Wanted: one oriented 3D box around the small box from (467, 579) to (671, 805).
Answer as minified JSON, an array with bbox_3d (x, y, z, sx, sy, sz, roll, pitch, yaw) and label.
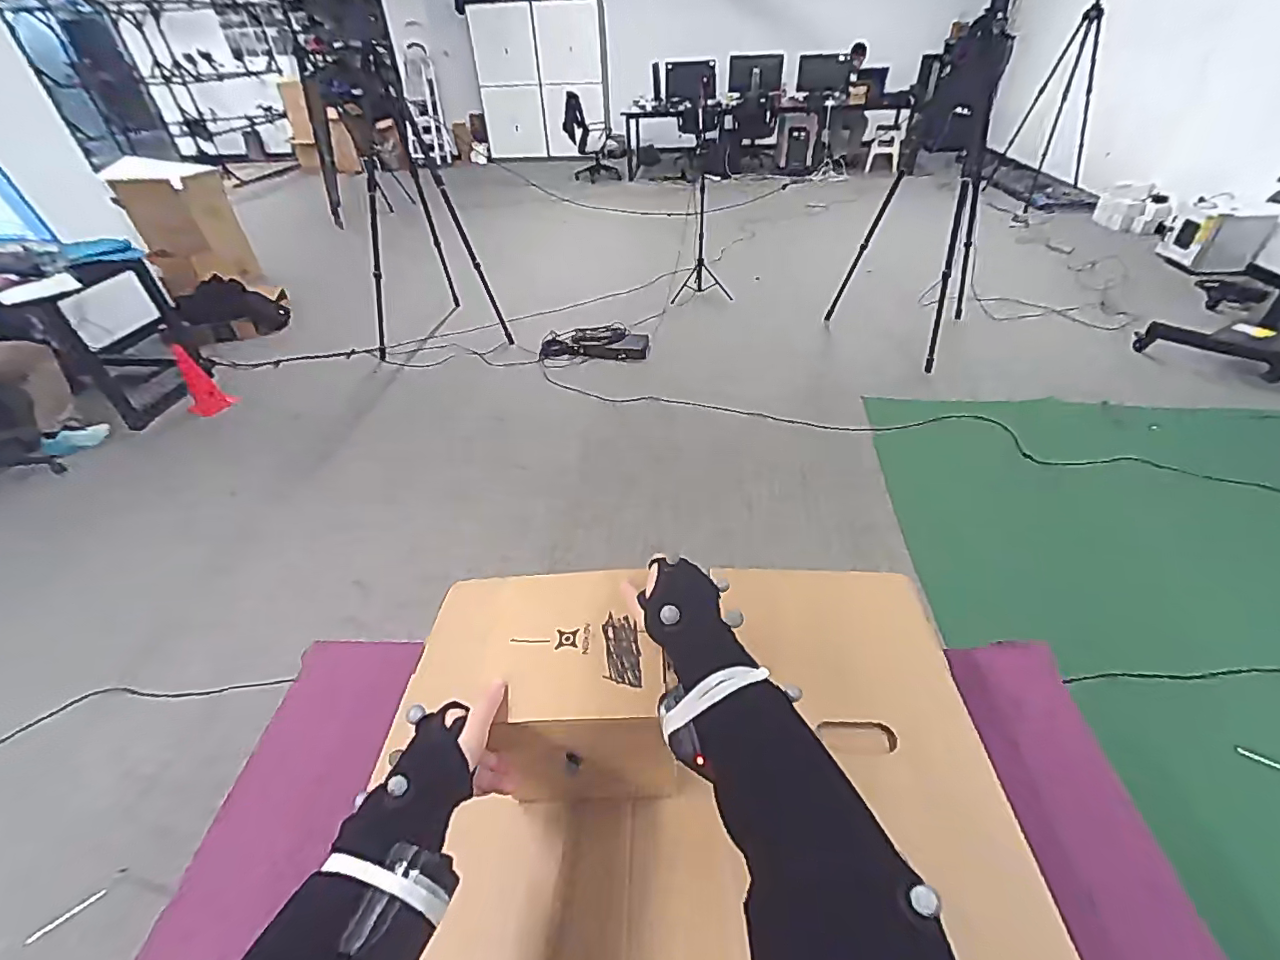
[{"bbox_3d":[-0.057,0.227,0.580,0.179,0.176,0.168,-5,39,4],"label":"small box"}]
